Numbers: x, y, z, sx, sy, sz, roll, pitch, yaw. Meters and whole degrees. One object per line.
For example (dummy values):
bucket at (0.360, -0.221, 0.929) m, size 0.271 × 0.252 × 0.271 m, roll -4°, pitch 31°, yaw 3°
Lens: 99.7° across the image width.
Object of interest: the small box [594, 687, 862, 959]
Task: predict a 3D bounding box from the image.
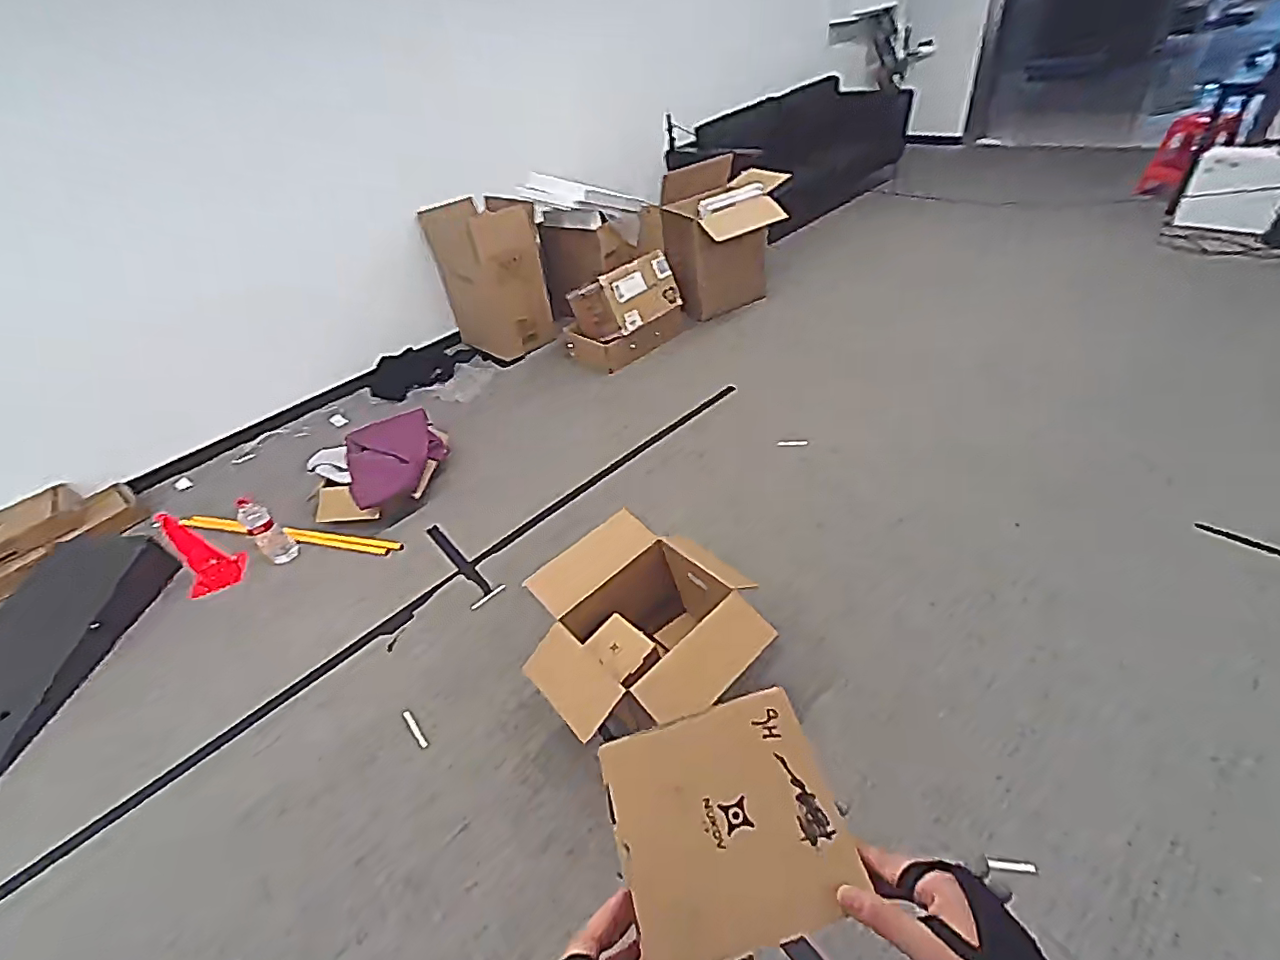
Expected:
small box at (0.072, 0.322, 0.497) m, size 0.179 × 0.176 × 0.168 m, roll -17°, pitch 50°, yaw -5°
